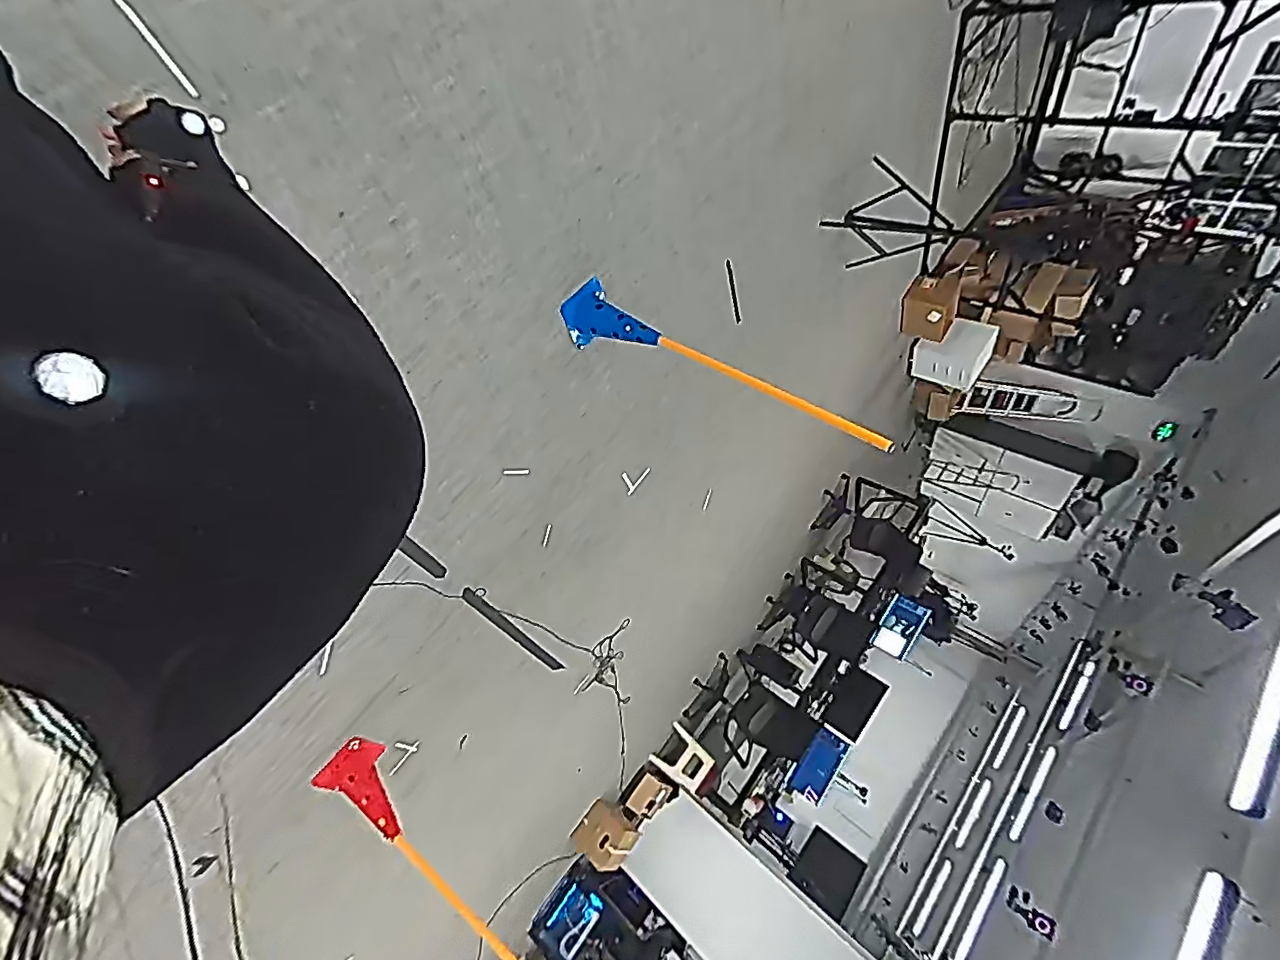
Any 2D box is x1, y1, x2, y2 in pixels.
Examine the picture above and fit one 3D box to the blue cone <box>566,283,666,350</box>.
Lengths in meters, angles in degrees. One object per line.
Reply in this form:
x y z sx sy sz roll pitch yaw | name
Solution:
-0.063 -0.531 1.876 0.193 0.380 0.192 -47 145 -21 | blue cone
